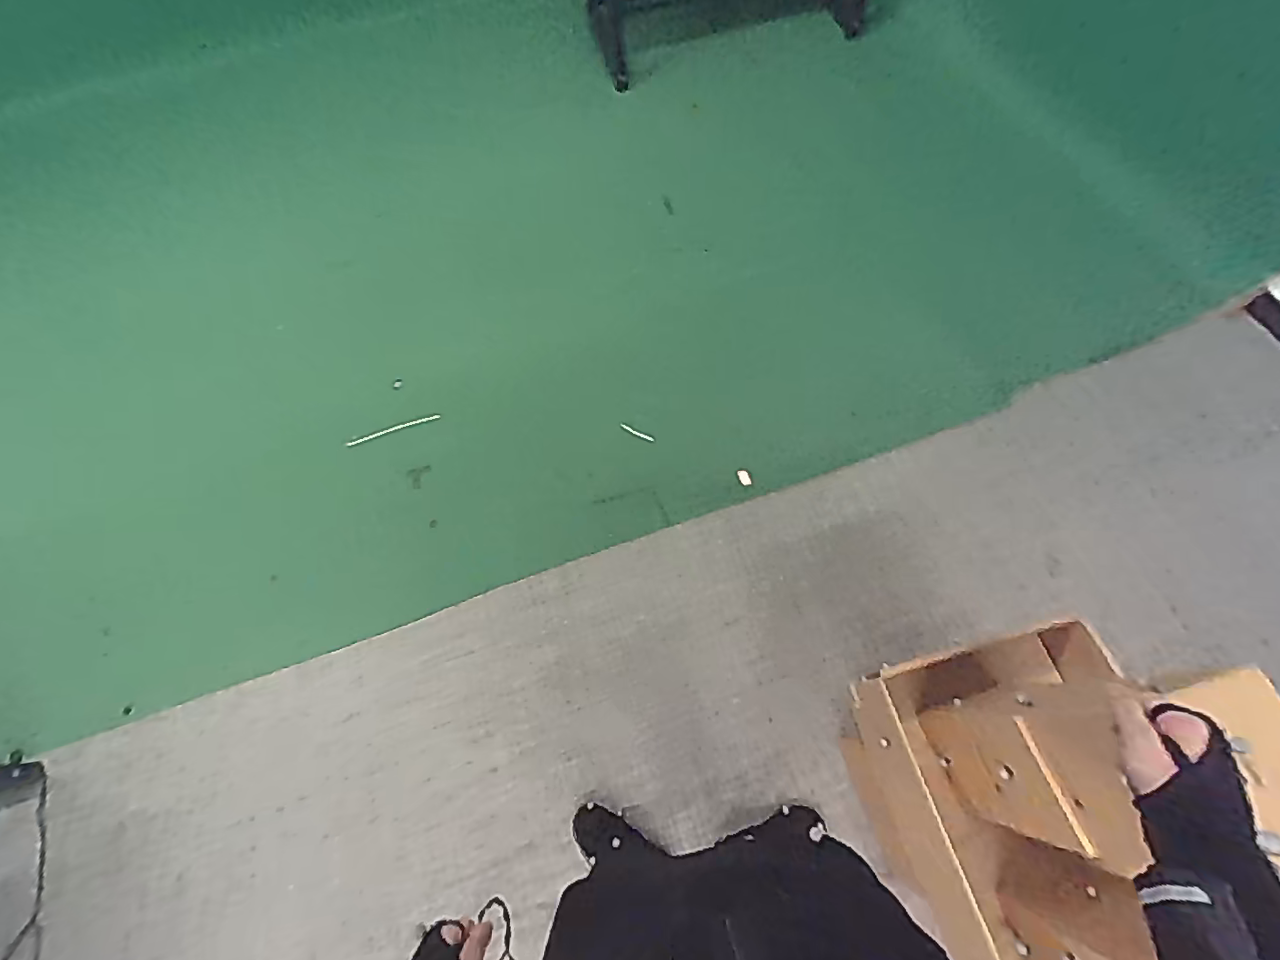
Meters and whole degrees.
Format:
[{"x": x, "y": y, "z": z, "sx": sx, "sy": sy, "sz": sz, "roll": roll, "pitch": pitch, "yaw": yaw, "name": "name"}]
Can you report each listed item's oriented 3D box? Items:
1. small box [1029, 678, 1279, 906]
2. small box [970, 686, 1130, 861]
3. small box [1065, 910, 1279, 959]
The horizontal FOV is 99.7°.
[{"x": 0.604, "y": 0.335, "z": 0.613, "sx": 0.179, "sy": 0.176, "sz": 0.168, "roll": -17, "pitch": 65, "yaw": -4, "name": "small box"}, {"x": 0.606, "y": 0.403, "z": 0.763, "sx": 0.179, "sy": 0.176, "sz": 0.168, "roll": -16, "pitch": 67, "yaw": -3, "name": "small box"}, {"x": 0.666, "y": 0.655, "z": 0.649, "sx": 0.179, "sy": 0.176, "sz": 0.168, "roll": -12, "pitch": 65, "yaw": -3, "name": "small box"}]
